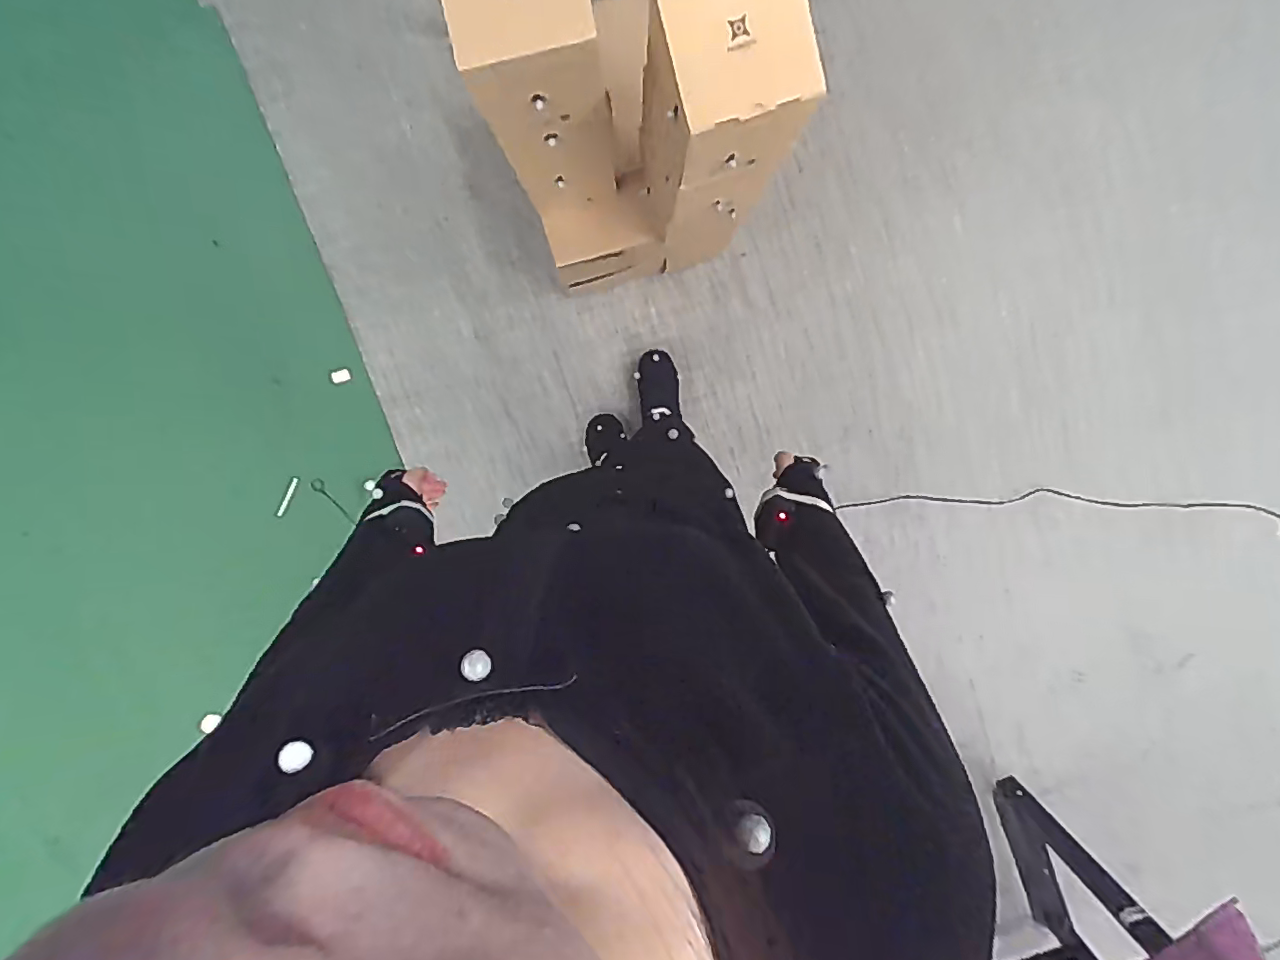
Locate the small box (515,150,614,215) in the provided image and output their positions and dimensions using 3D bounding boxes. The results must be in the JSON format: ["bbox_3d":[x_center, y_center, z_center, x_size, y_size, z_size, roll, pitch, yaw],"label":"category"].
[{"bbox_3d":[-0.151,-0.629,1.004,0.168,0.176,0.179,-16,97,3],"label":"small box"}]

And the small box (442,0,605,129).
[{"bbox_3d":[-0.143,-0.574,0.678,0.168,0.176,0.179,-11,98,2],"label":"small box"}]

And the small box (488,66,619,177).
[{"bbox_3d":[-0.144,-0.604,0.838,0.179,0.176,0.168,-17,98,6],"label":"small box"}]

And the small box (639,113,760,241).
[{"bbox_3d":[0.103,-0.574,1.010,0.179,0.176,0.168,-18,97,2],"label":"small box"}]

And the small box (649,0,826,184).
[{"bbox_3d":[0.111,-0.518,0.689,0.168,0.176,0.179,-16,98,2],"label":"small box"}]
